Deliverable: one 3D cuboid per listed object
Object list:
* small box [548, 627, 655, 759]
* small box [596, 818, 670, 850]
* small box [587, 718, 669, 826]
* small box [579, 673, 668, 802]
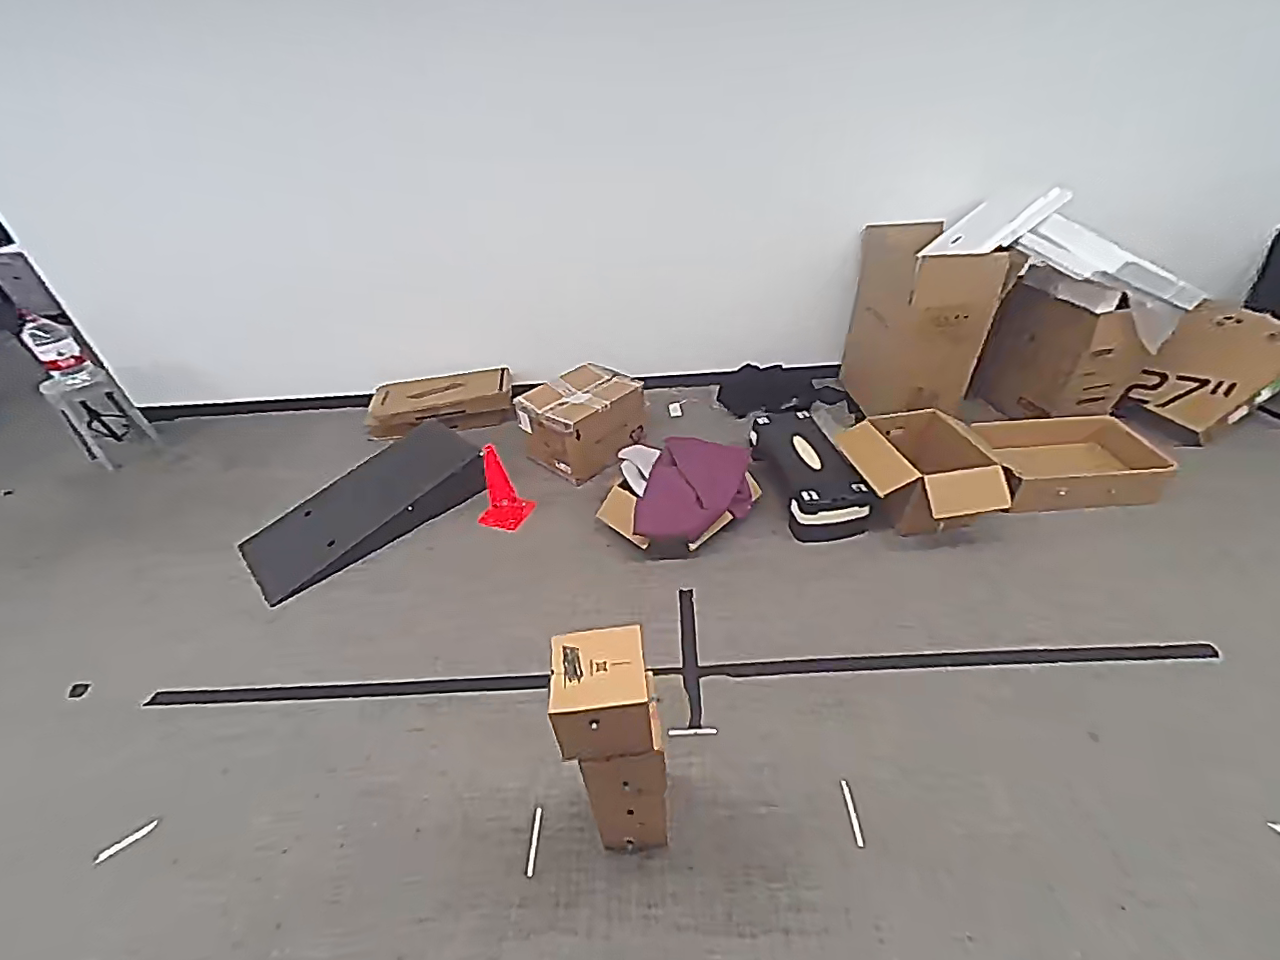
[{"bbox_3d":[-0.070,0.410,1.034,0.179,0.176,0.168,-7,37,-1],"label":"small box"},{"bbox_3d":[-0.016,0.789,1.347,0.168,0.176,0.179,-5,38,2],"label":"small box"},{"bbox_3d":[-0.023,0.669,1.234,0.168,0.176,0.179,-5,38,2],"label":"small box"},{"bbox_3d":[-0.037,0.538,1.133,0.168,0.176,0.179,-8,37,-2],"label":"small box"}]
